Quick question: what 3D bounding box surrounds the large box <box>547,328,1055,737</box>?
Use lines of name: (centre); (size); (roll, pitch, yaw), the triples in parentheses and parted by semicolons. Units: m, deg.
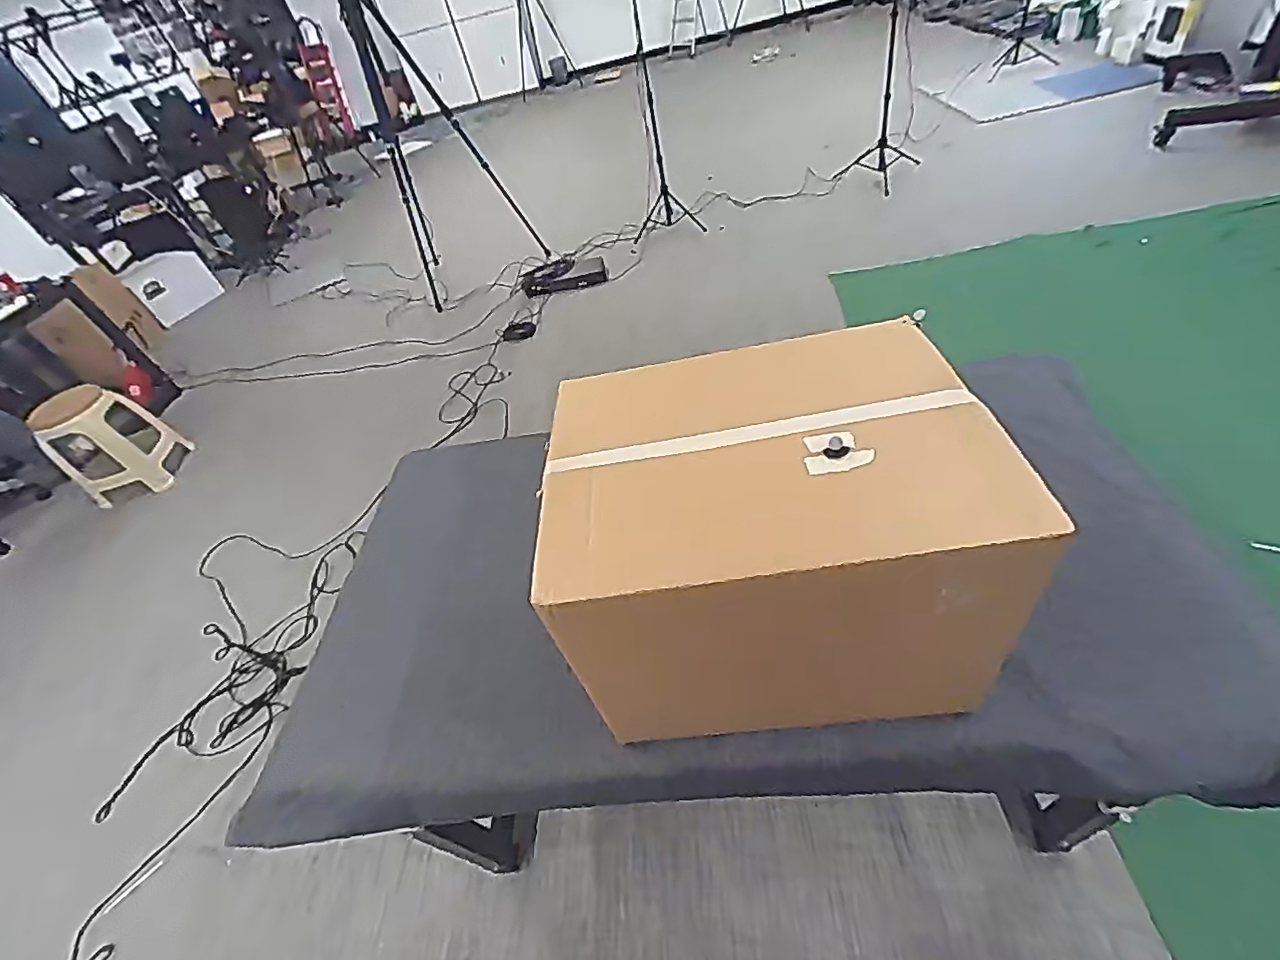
large box: (0.137, 0.067, 0.628); (0.408, 0.320, 0.320); (-9, 45, 6)
